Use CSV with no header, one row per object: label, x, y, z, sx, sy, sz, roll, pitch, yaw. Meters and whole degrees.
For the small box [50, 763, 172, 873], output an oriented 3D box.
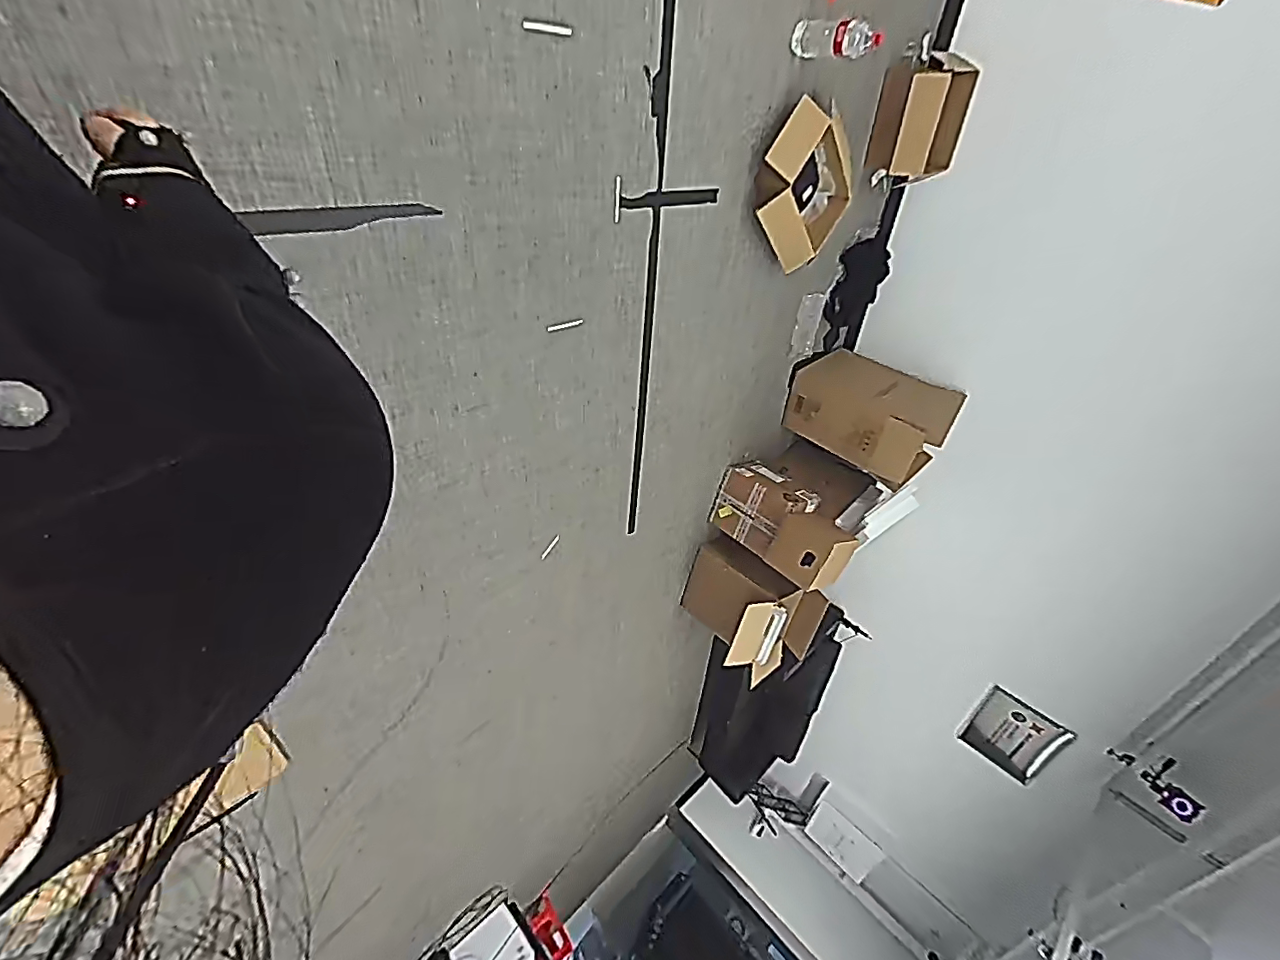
small box,-1.429,0.909,1.464,0.168,0.176,0.179,-37,141,-30
